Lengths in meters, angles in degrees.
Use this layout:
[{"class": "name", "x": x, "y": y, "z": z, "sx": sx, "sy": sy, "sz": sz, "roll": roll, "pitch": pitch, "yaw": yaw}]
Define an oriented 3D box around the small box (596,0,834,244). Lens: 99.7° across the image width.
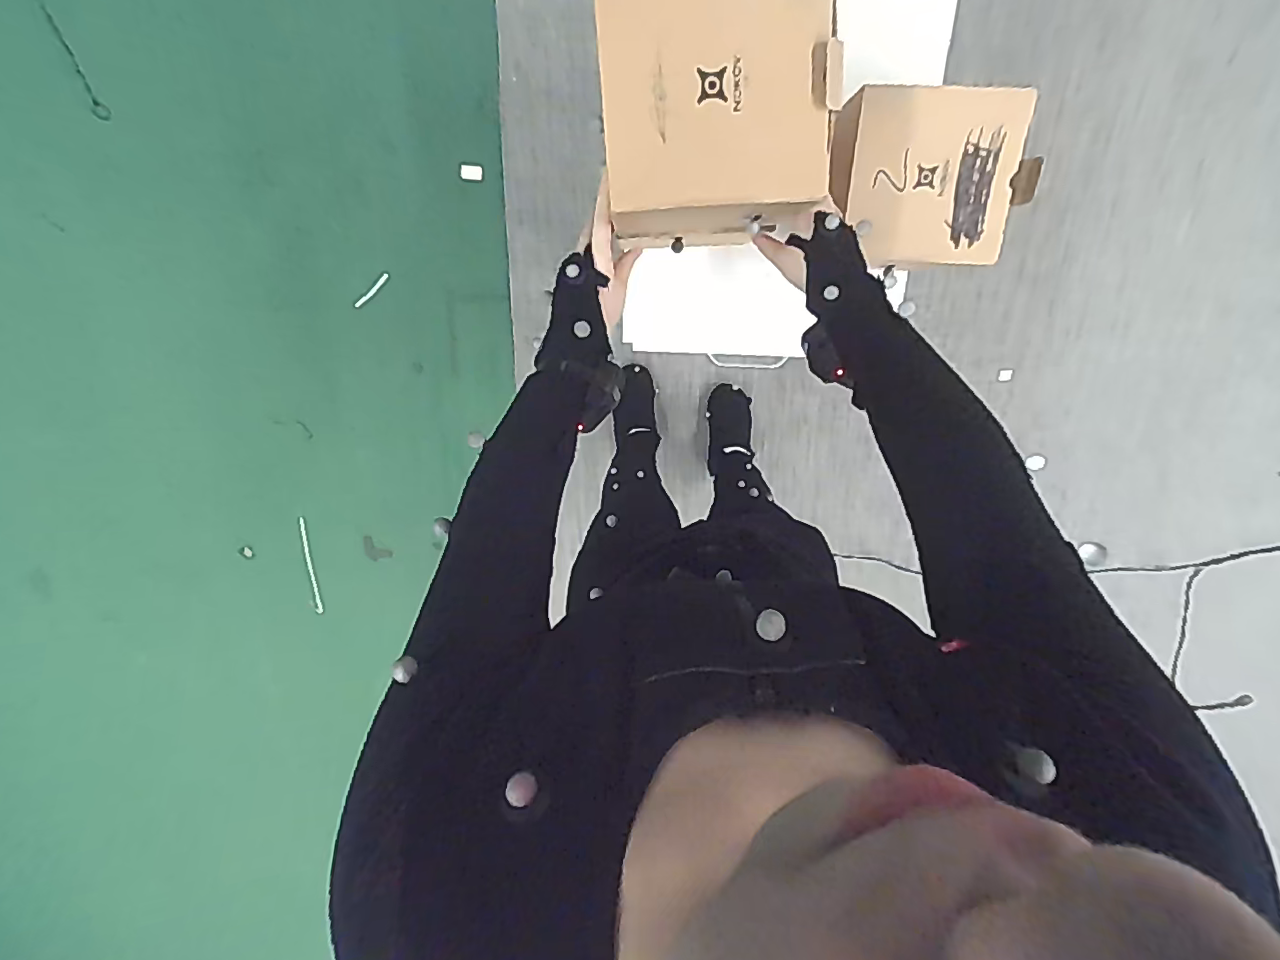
[{"class": "small box", "x": 0.057, "y": -0.313, "z": 0.486, "sx": 0.179, "sy": 0.176, "sz": 0.168, "roll": -4, "pitch": 108, "yaw": 1}]
